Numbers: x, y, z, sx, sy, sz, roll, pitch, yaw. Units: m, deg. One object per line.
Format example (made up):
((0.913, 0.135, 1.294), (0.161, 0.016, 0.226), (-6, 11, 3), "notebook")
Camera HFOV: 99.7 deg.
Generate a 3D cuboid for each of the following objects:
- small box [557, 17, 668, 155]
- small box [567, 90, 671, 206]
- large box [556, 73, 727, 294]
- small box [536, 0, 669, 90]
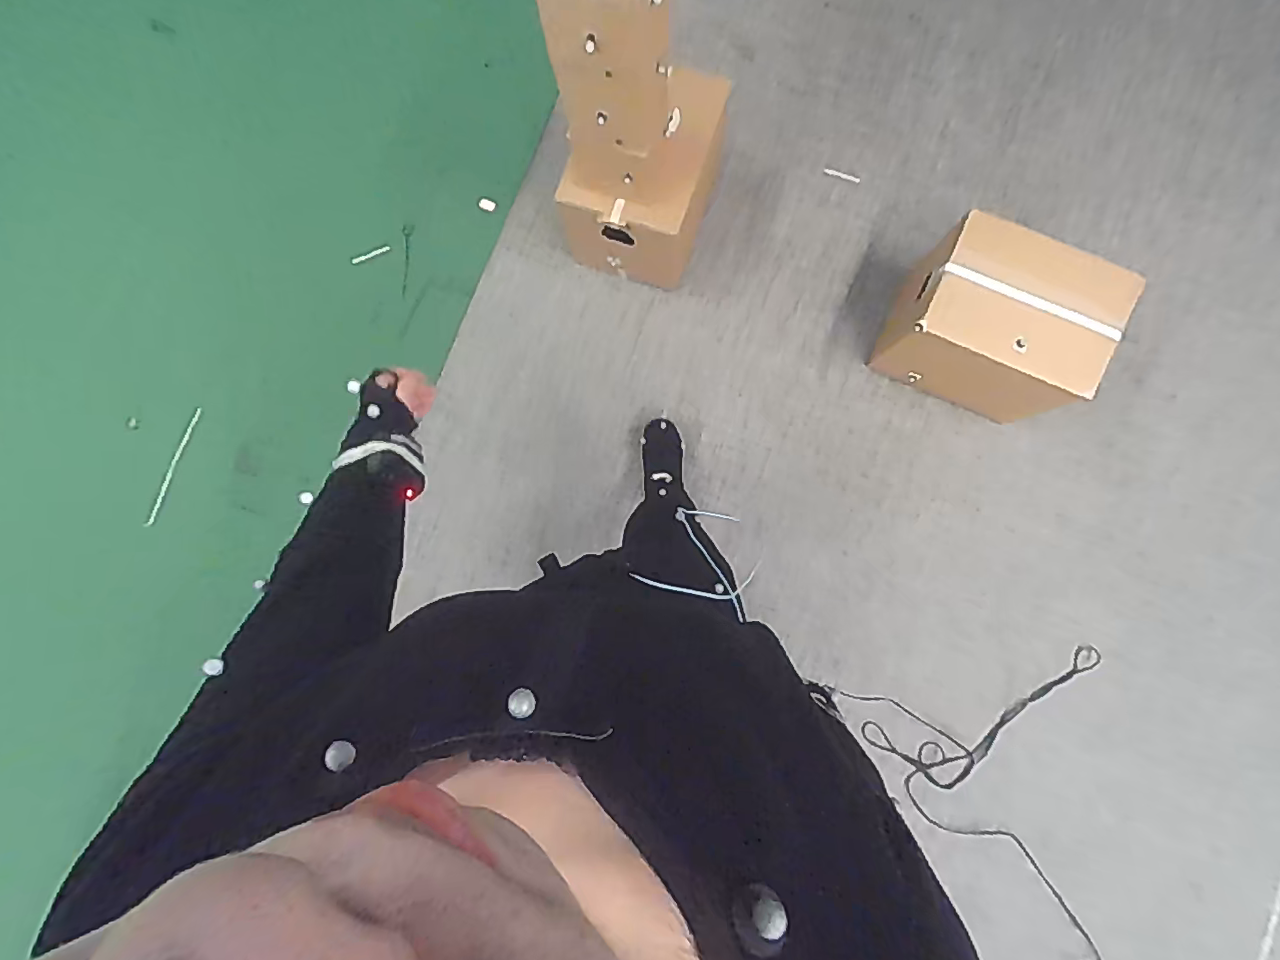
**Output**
((-0.044, -0.759, 1.024), (0.168, 0.176, 0.179), (14, 85, 3), "small box")
((-0.040, -0.738, 1.187), (0.179, 0.176, 0.168), (18, 85, 5), "small box")
((0.011, -0.776, 1.433), (0.320, 0.320, 0.408), (19, 85, 4), "large box")
((-0.050, -0.772, 0.860), (0.168, 0.176, 0.179), (16, 86, 4), "small box")
